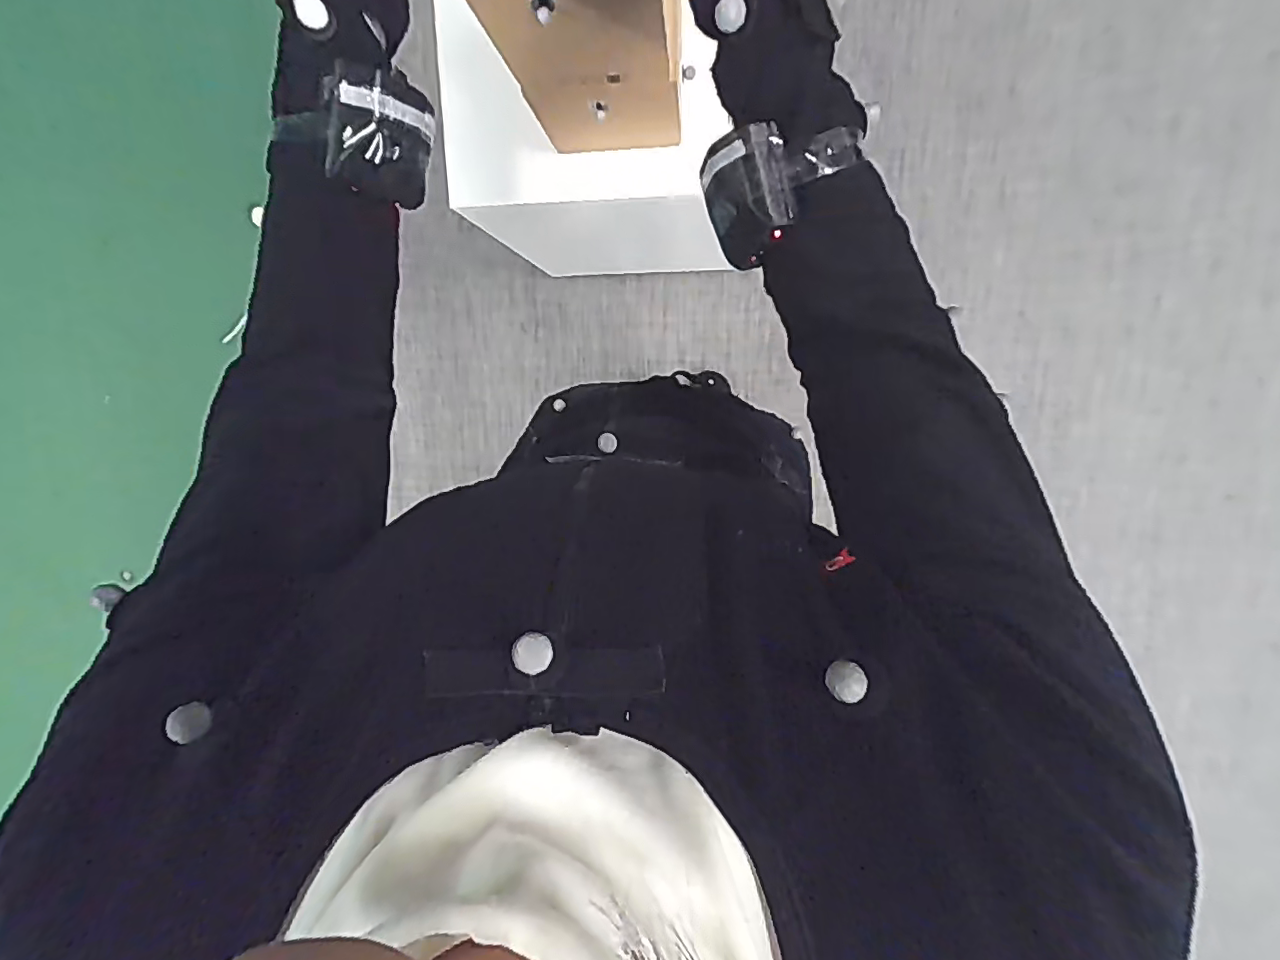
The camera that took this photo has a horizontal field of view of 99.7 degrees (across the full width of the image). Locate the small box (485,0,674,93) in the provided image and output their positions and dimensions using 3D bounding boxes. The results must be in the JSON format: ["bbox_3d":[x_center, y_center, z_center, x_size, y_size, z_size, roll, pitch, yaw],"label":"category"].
[{"bbox_3d":[-0.054,-0.498,0.496,0.168,0.176,0.179,-1,102,6],"label":"small box"}]

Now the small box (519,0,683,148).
[{"bbox_3d":[-0.039,-0.525,0.654,0.179,0.176,0.168,0,101,6],"label":"small box"}]
